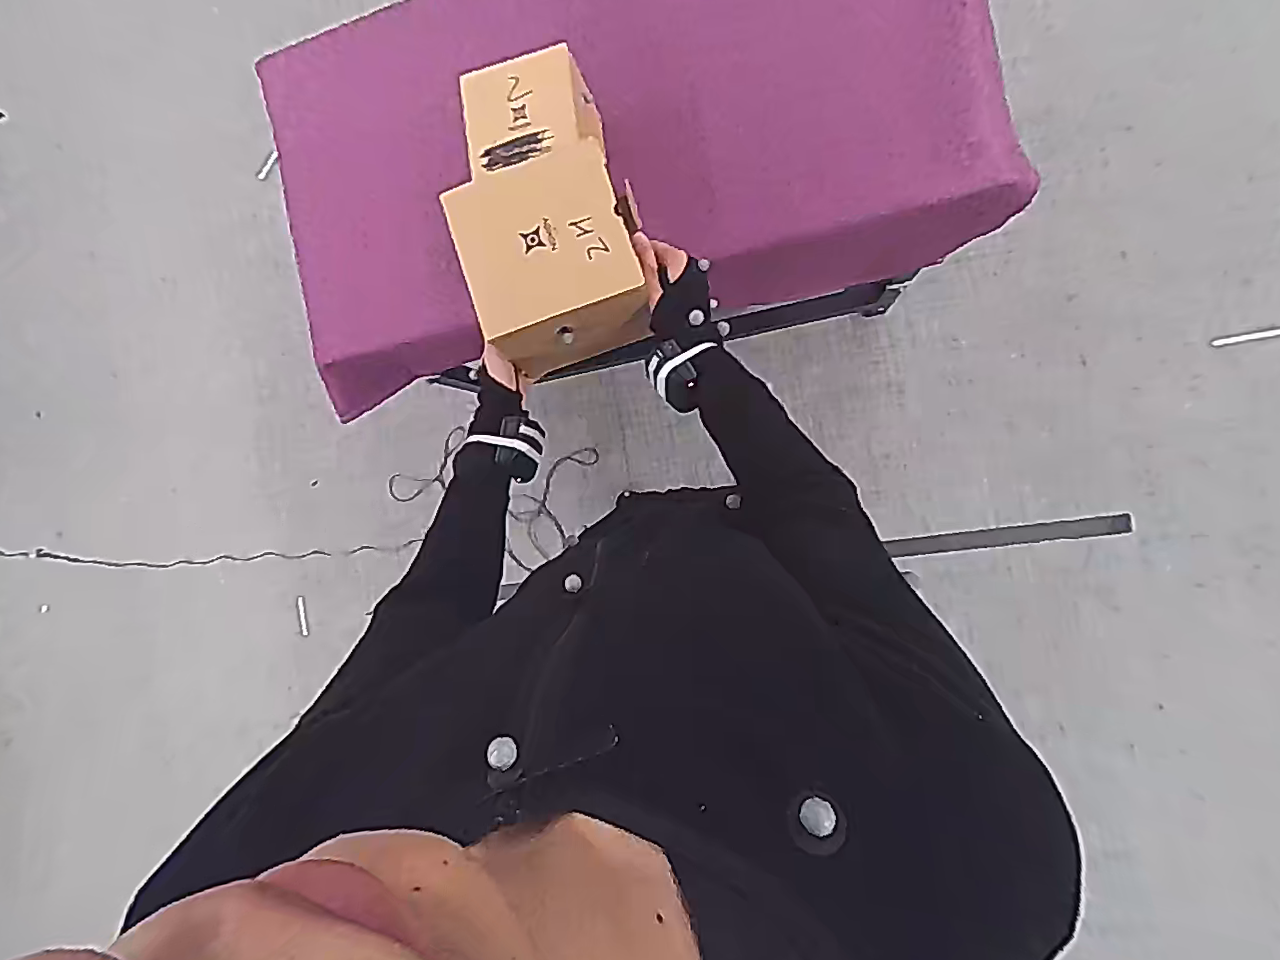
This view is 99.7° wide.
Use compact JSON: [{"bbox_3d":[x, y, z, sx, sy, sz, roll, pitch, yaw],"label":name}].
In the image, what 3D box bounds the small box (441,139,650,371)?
[{"bbox_3d":[-0.096,-0.242,0.629,0.179,0.176,0.168,-18,87,3],"label":"small box"}]
